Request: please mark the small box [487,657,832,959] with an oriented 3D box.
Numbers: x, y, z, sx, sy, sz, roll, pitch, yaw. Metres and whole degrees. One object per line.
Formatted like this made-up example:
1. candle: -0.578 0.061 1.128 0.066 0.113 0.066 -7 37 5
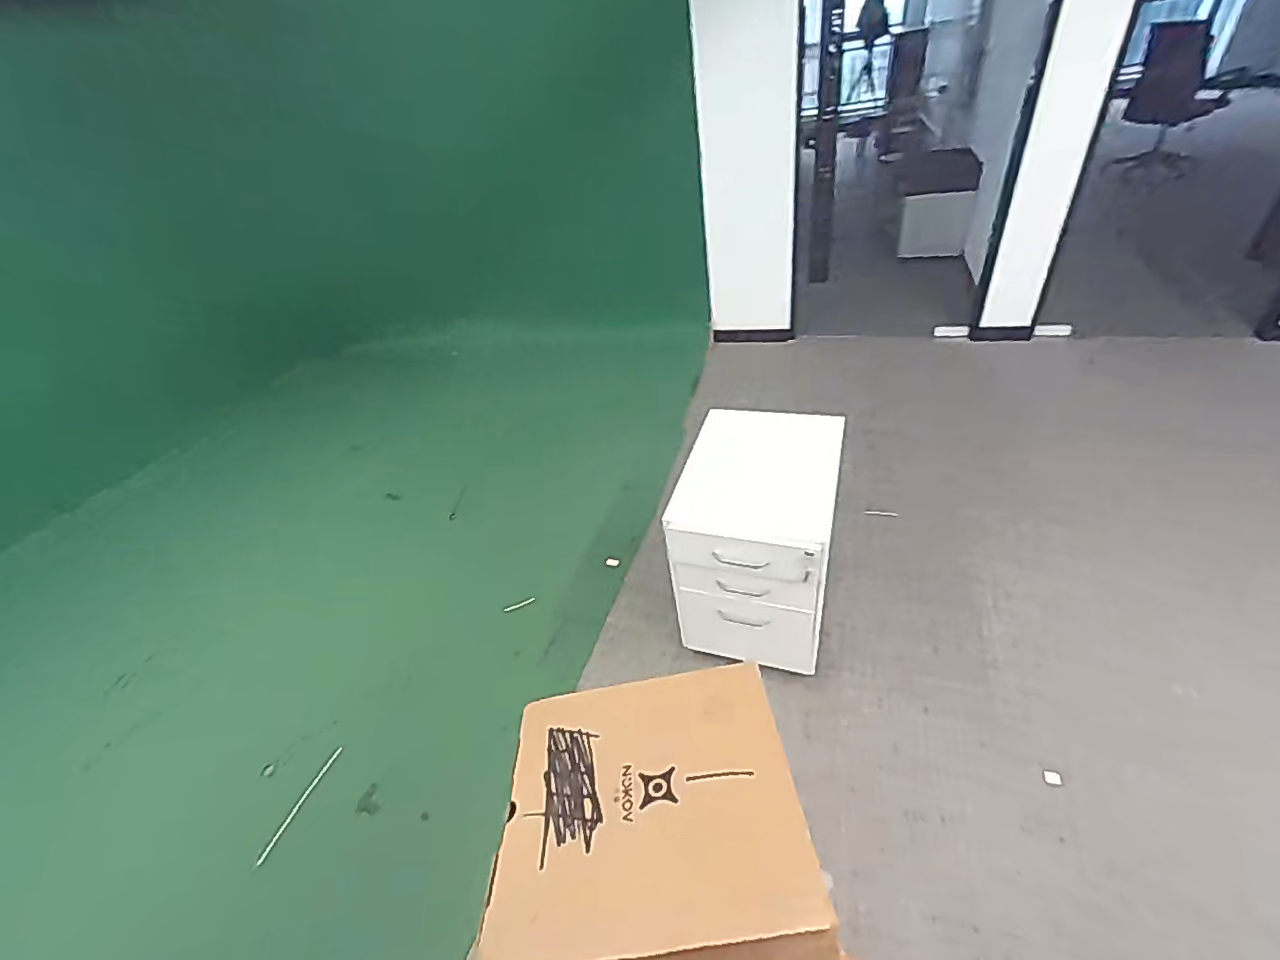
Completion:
1. small box: 0.022 0.253 0.368 0.179 0.176 0.168 -10 26 4
